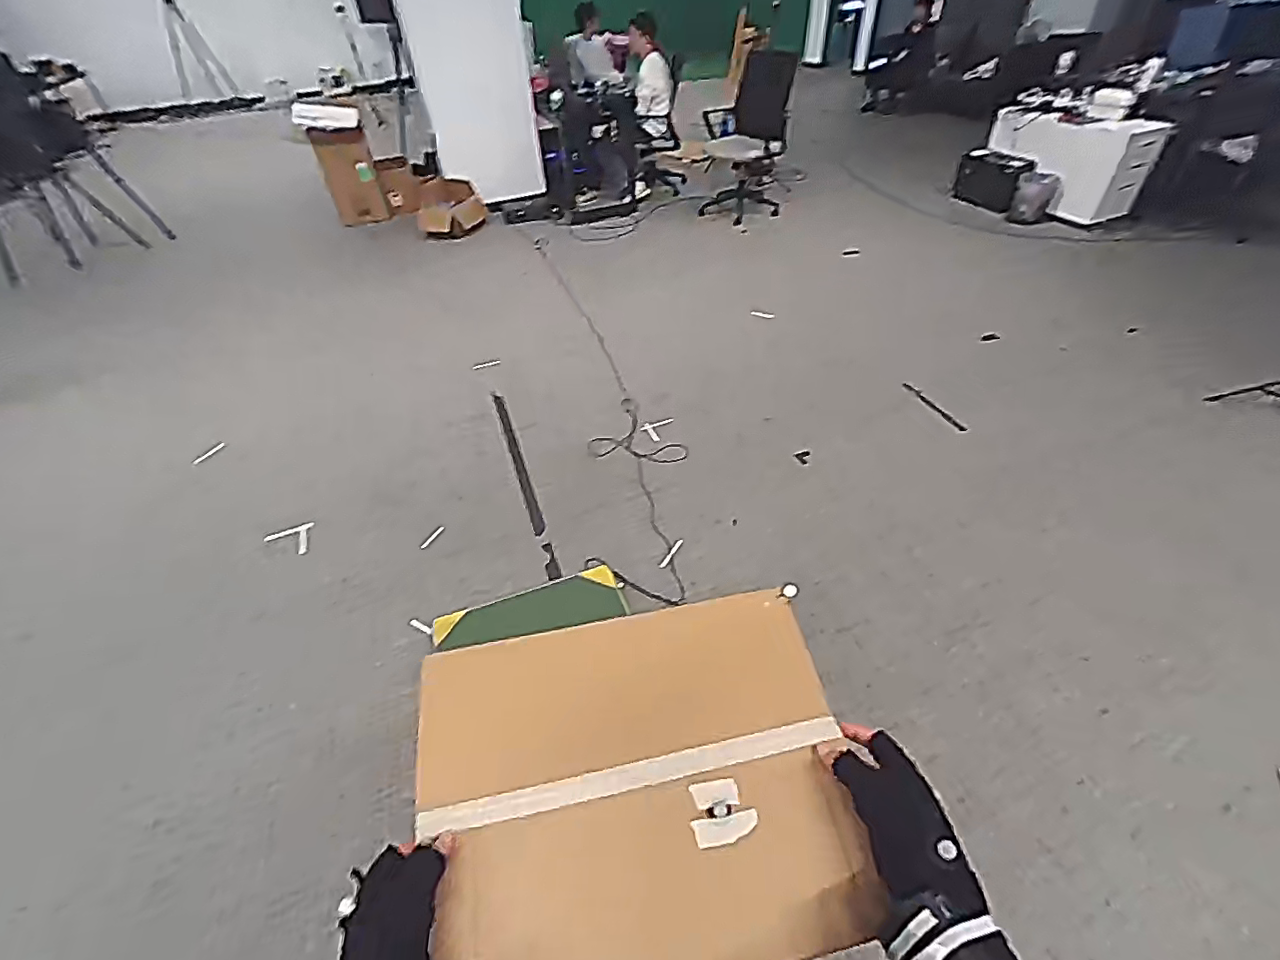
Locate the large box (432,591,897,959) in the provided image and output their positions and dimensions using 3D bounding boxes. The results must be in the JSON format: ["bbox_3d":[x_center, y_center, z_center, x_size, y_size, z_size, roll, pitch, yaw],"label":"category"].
[{"bbox_3d":[-0.003,0.375,0.646,0.408,0.320,0.320,-9,54,-8],"label":"large box"}]
